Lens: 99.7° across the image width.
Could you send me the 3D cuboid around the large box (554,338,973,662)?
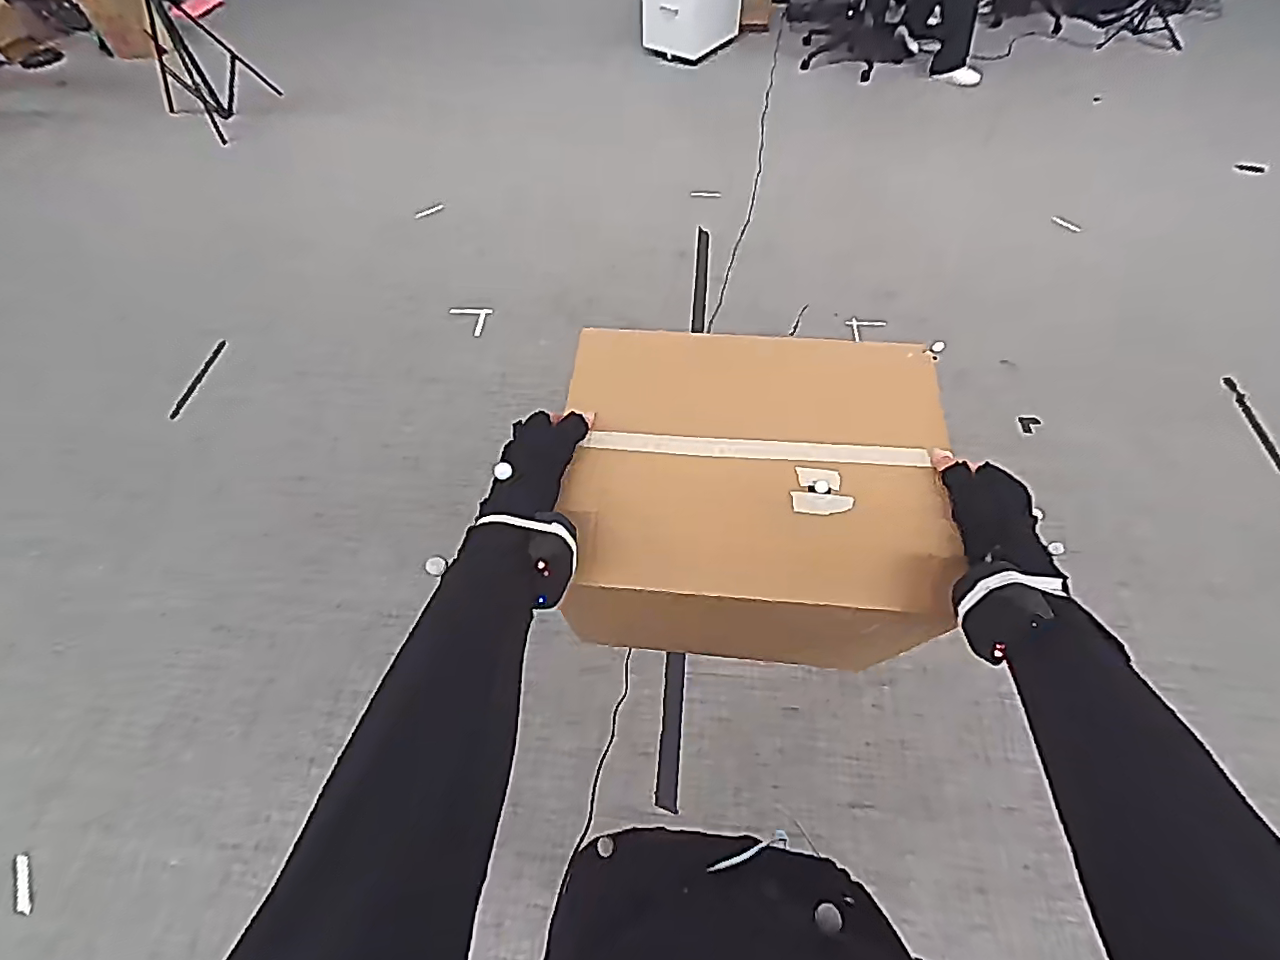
[{"bbox_3d":[0.128,0.042,0.709,0.408,0.320,0.320,4,64,5],"label":"large box"}]
